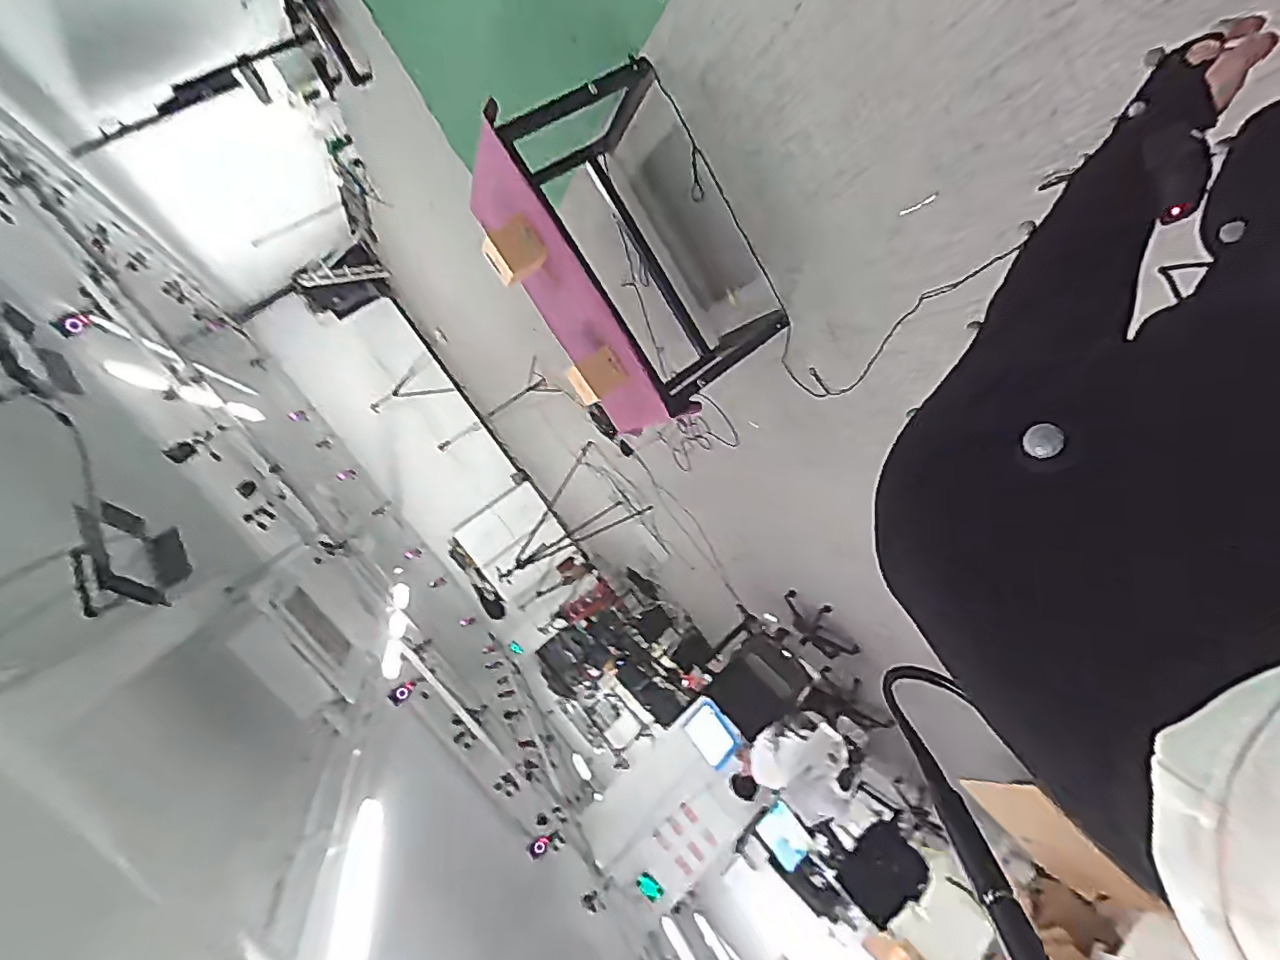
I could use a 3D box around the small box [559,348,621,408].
[{"bbox_3d":[-0.201,-0.415,2.212,0.168,0.176,0.179,56,161,-13],"label":"small box"}]
